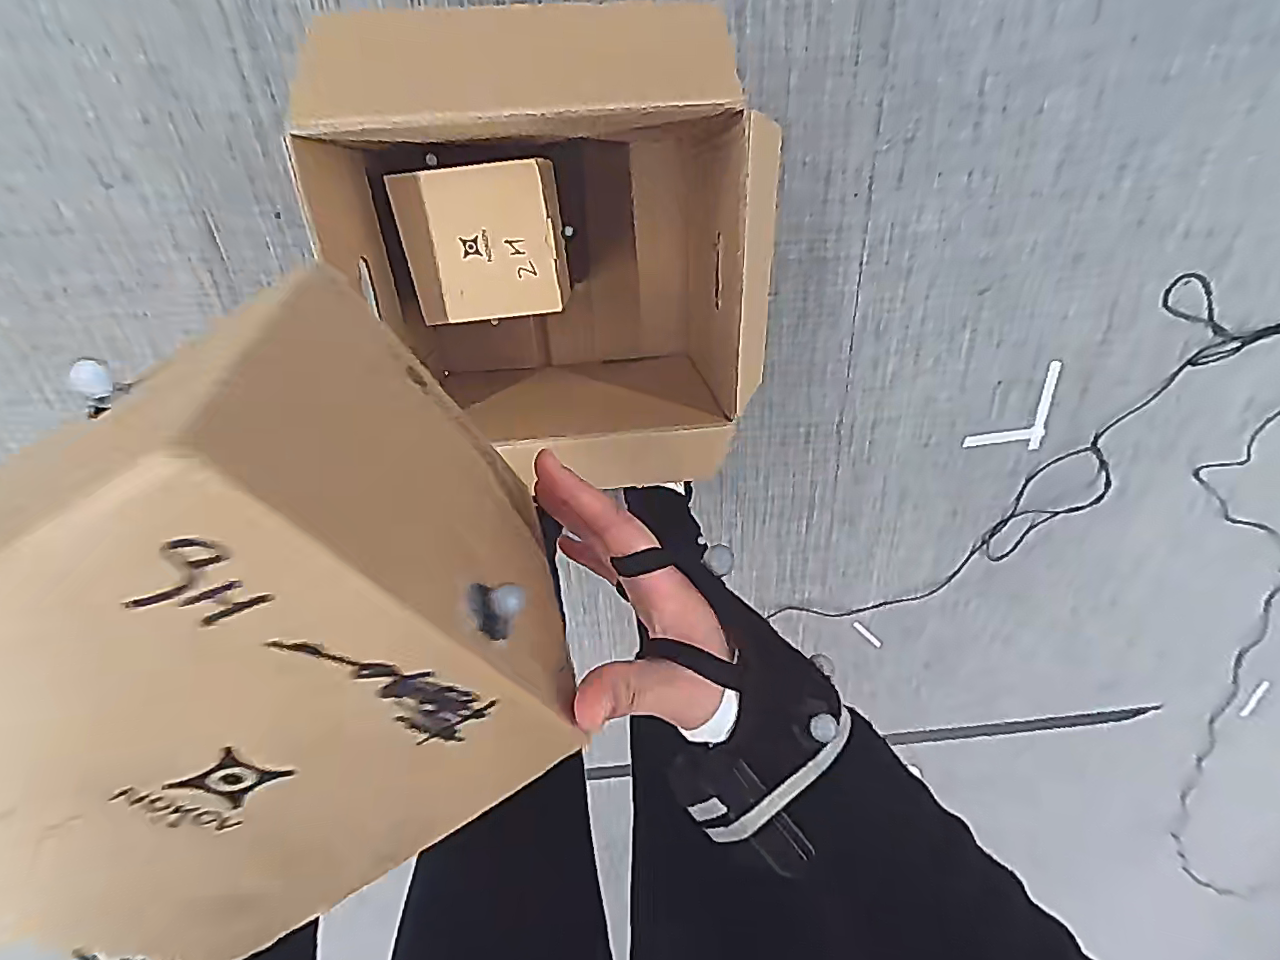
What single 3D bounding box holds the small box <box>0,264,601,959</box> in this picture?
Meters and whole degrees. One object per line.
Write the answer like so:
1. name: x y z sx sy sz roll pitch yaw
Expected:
1. small box: -0.141 0.043 0.218 0.179 0.176 0.168 -31 128 2
